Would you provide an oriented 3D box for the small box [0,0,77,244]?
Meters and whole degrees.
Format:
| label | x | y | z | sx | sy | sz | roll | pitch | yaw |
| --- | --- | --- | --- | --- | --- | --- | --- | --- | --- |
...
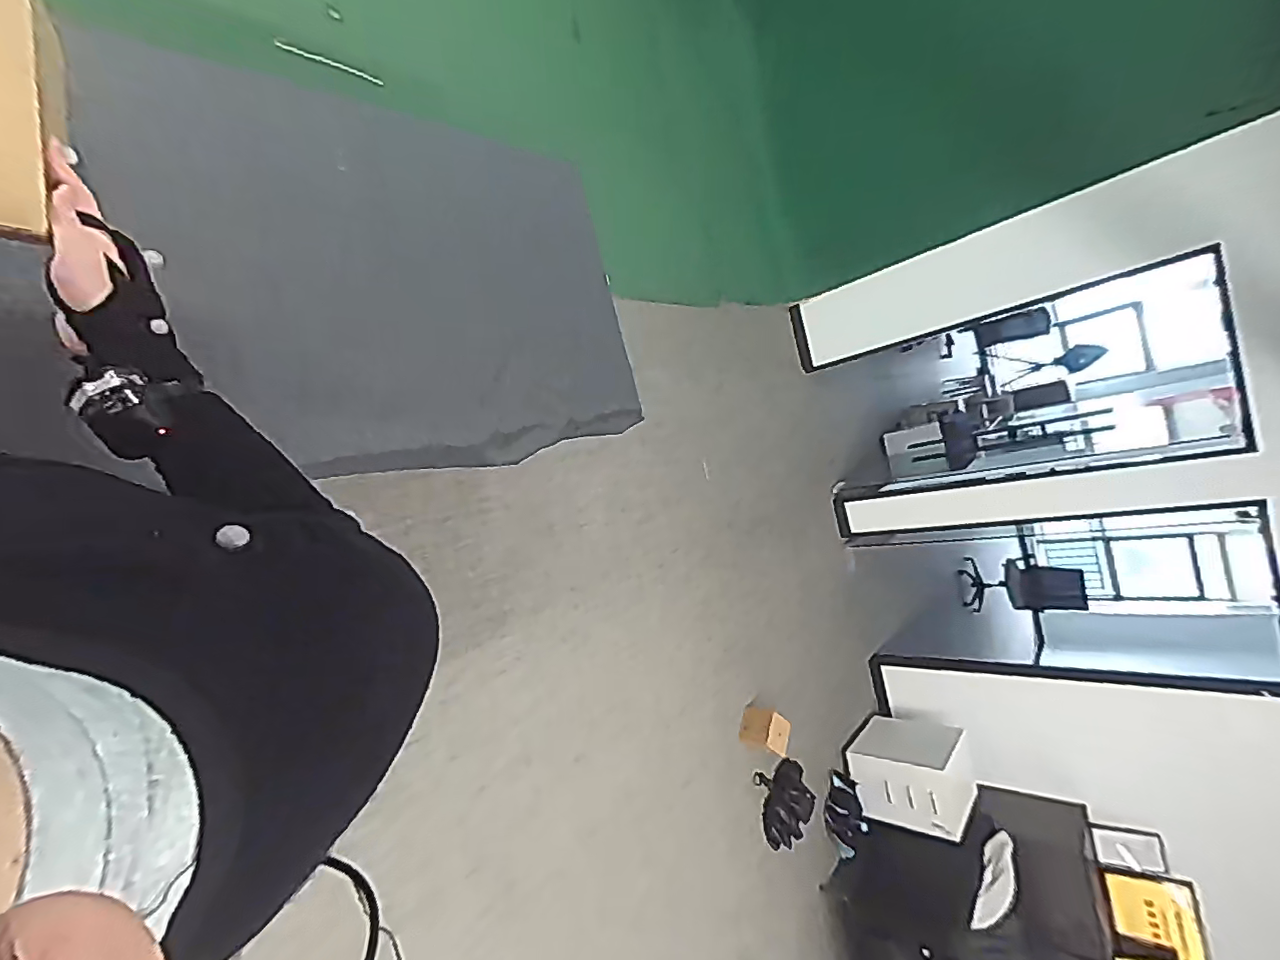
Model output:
| label | x | y | z | sx | sy | sz | roll | pitch | yaw |
| --- | --- | --- | --- | --- | --- | --- | --- | --- | --- |
| small box | -0.538 | -0.280 | 0.391 | 0.168 | 0.176 | 0.179 | -3 | 108 | -42 |
